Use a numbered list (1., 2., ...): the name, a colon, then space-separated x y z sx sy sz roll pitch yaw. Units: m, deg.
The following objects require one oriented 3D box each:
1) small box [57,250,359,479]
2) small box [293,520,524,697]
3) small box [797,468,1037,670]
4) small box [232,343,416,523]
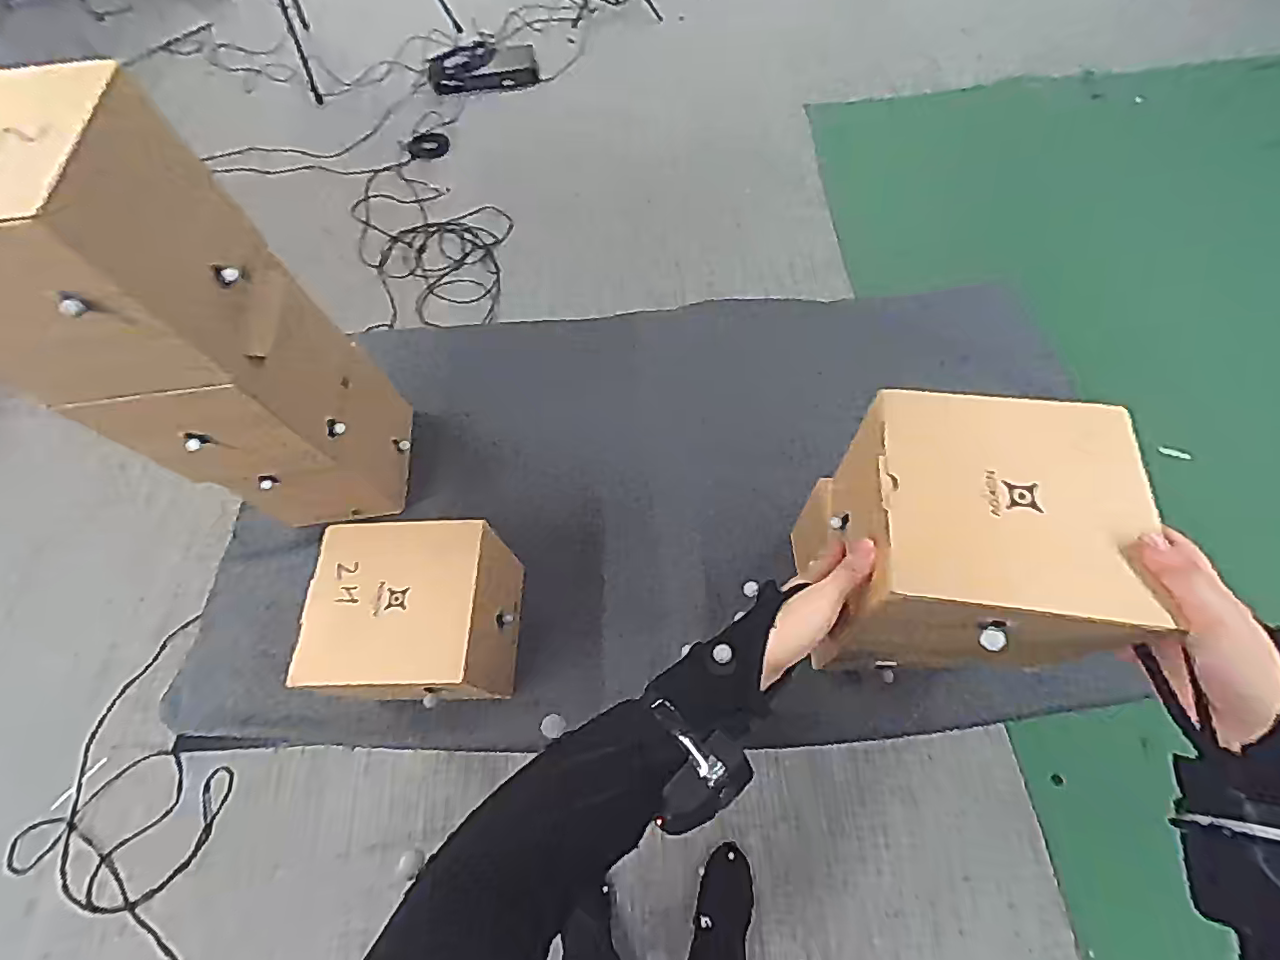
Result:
1. small box: -0.435 -0.114 0.583 0.179 0.176 0.168 -7 65 2
2. small box: -0.241 0.152 0.617 0.179 0.176 0.168 -2 64 4
3. small box: 0.278 0.104 0.594 0.168 0.176 0.179 -4 64 5
4. small box: -0.424 -0.058 0.739 0.168 0.176 0.179 -7 64 1
